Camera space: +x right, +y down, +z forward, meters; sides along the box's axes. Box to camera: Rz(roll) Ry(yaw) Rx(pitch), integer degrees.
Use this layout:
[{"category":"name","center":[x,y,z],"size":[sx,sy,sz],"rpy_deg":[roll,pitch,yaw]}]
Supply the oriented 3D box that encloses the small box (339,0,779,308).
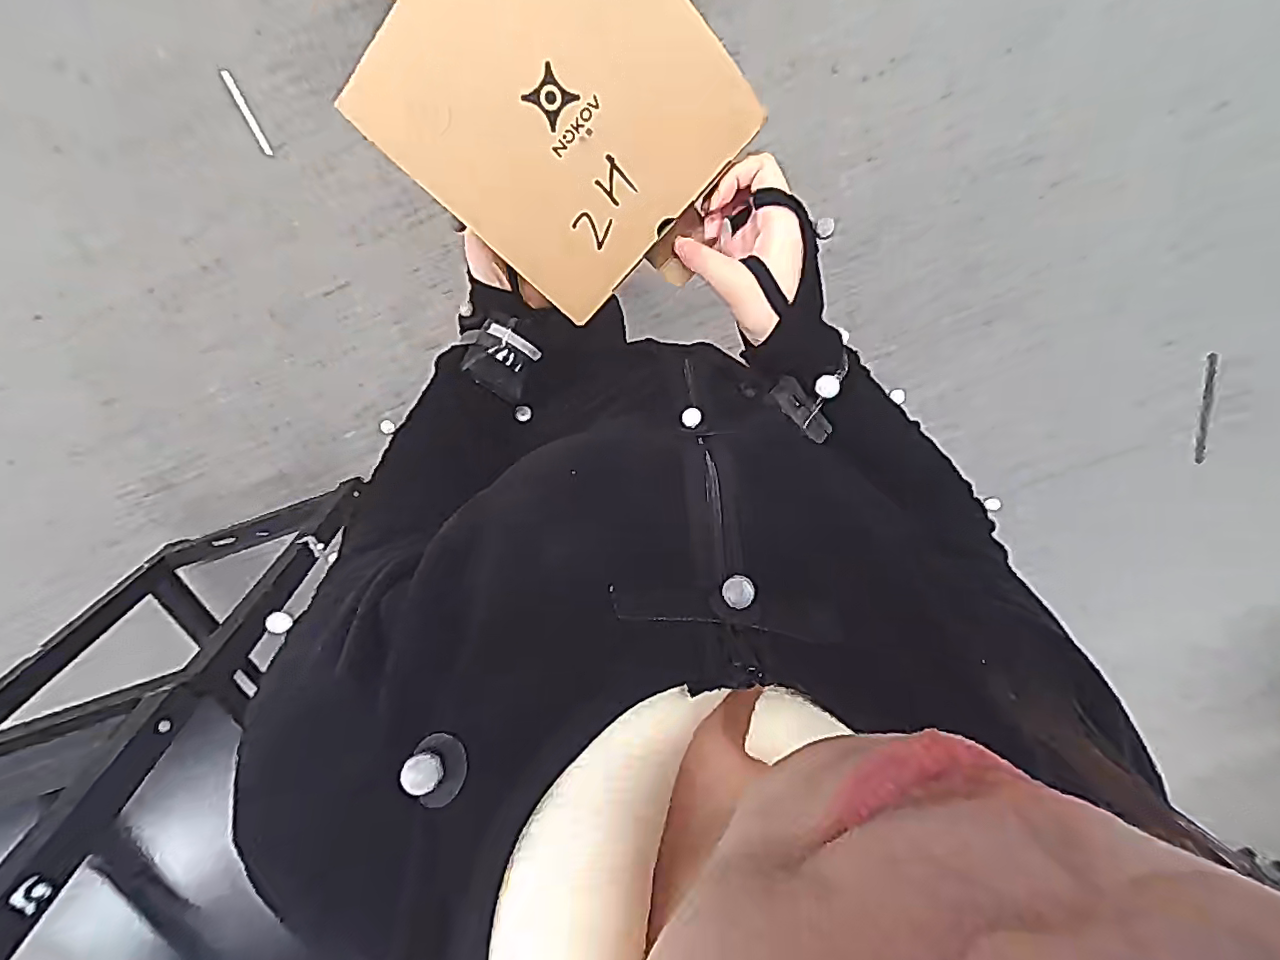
[{"category":"small box","center":[-0.046,-0.248,0.355],"size":[0.168,0.176,0.179],"rpy_deg":[-42,117,18]}]
